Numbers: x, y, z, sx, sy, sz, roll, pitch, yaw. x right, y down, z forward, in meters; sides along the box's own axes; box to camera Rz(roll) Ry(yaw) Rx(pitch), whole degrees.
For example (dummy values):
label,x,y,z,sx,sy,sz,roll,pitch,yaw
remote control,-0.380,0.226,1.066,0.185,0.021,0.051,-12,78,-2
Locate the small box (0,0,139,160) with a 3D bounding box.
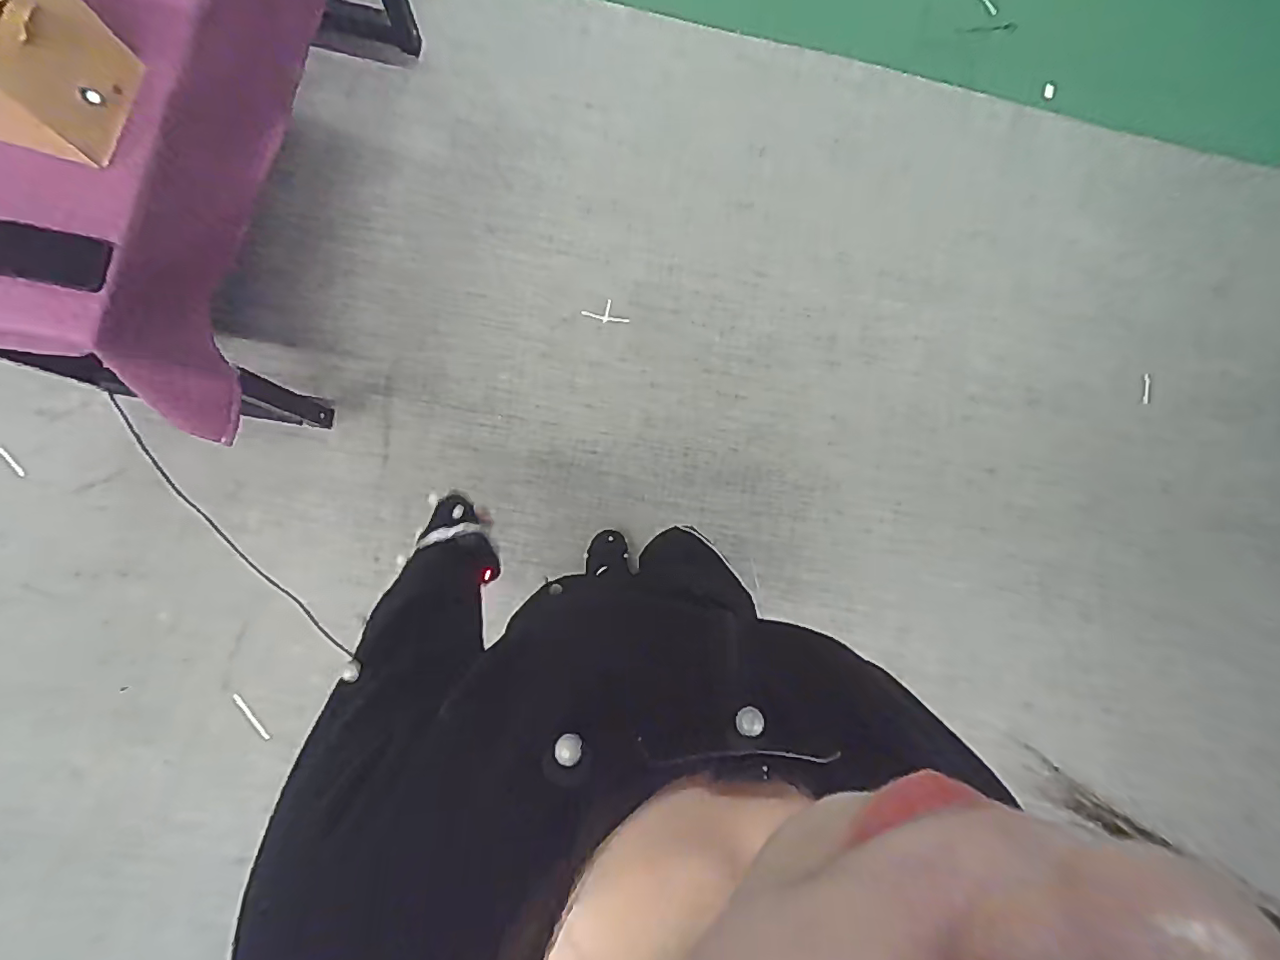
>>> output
label,x,y,z,sx,sy,sz,roll,pitch,yaw
small box,-0.800,-0.540,0.671,0.179,0.176,0.168,14,83,-5
